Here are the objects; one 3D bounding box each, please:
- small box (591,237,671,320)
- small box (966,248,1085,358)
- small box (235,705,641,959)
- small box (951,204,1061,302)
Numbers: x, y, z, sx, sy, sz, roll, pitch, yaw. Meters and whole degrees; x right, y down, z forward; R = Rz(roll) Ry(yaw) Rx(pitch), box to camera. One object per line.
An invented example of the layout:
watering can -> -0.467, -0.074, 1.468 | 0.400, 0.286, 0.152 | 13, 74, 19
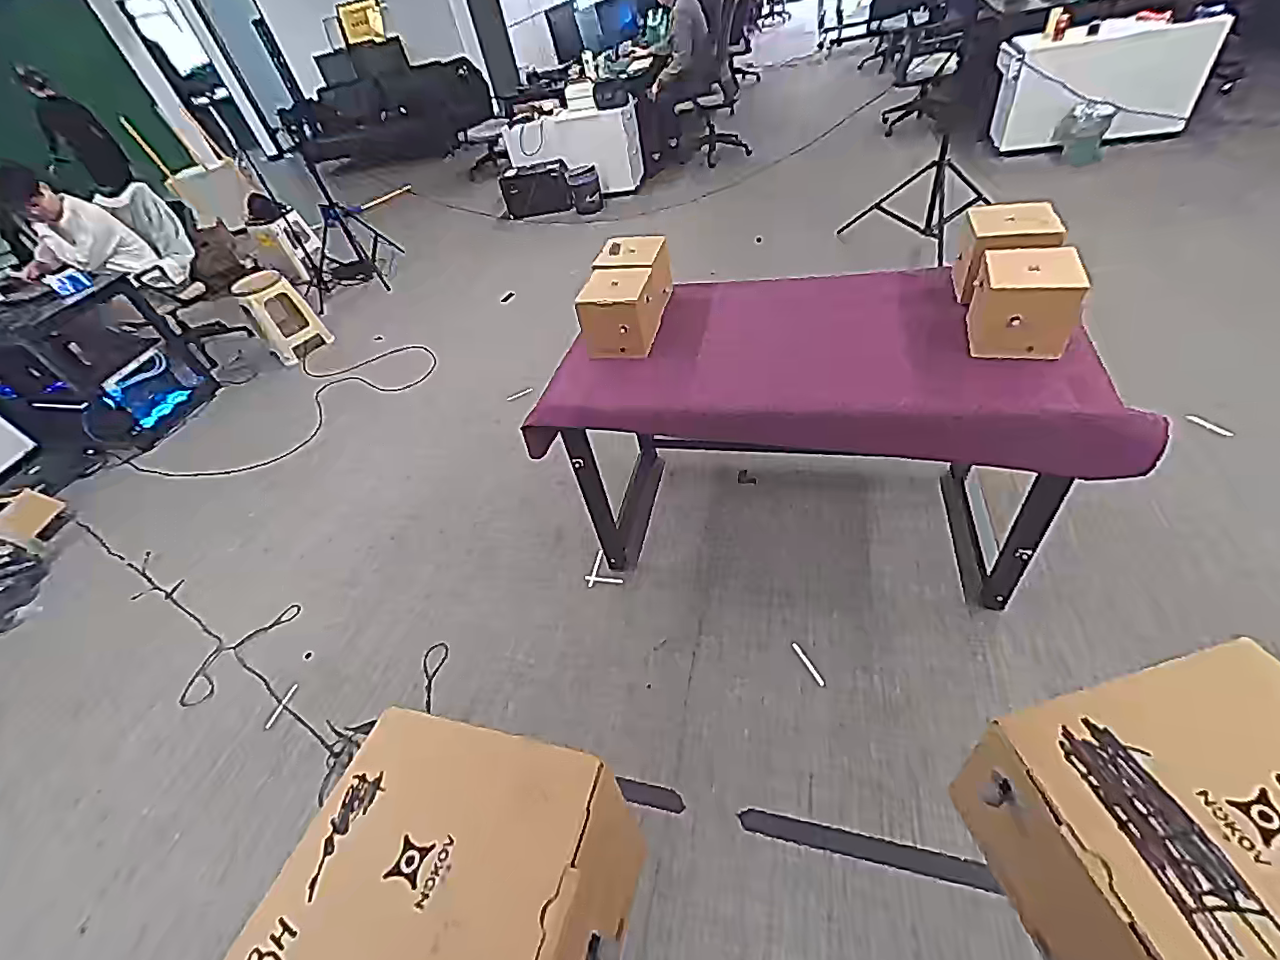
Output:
small box -> -0.019, -0.577, 1.556 | 0.179, 0.176, 0.168 | 6, 50, 17
small box -> 0.815, -0.376, 1.163 | 0.168, 0.176, 0.179 | 7, 47, 21
small box -> -0.108, 0.285, 0.365 | 0.179, 0.176, 0.168 | 5, 42, 18
small box -> 0.867, -0.542, 1.303 | 0.179, 0.176, 0.168 | 5, 48, 17
